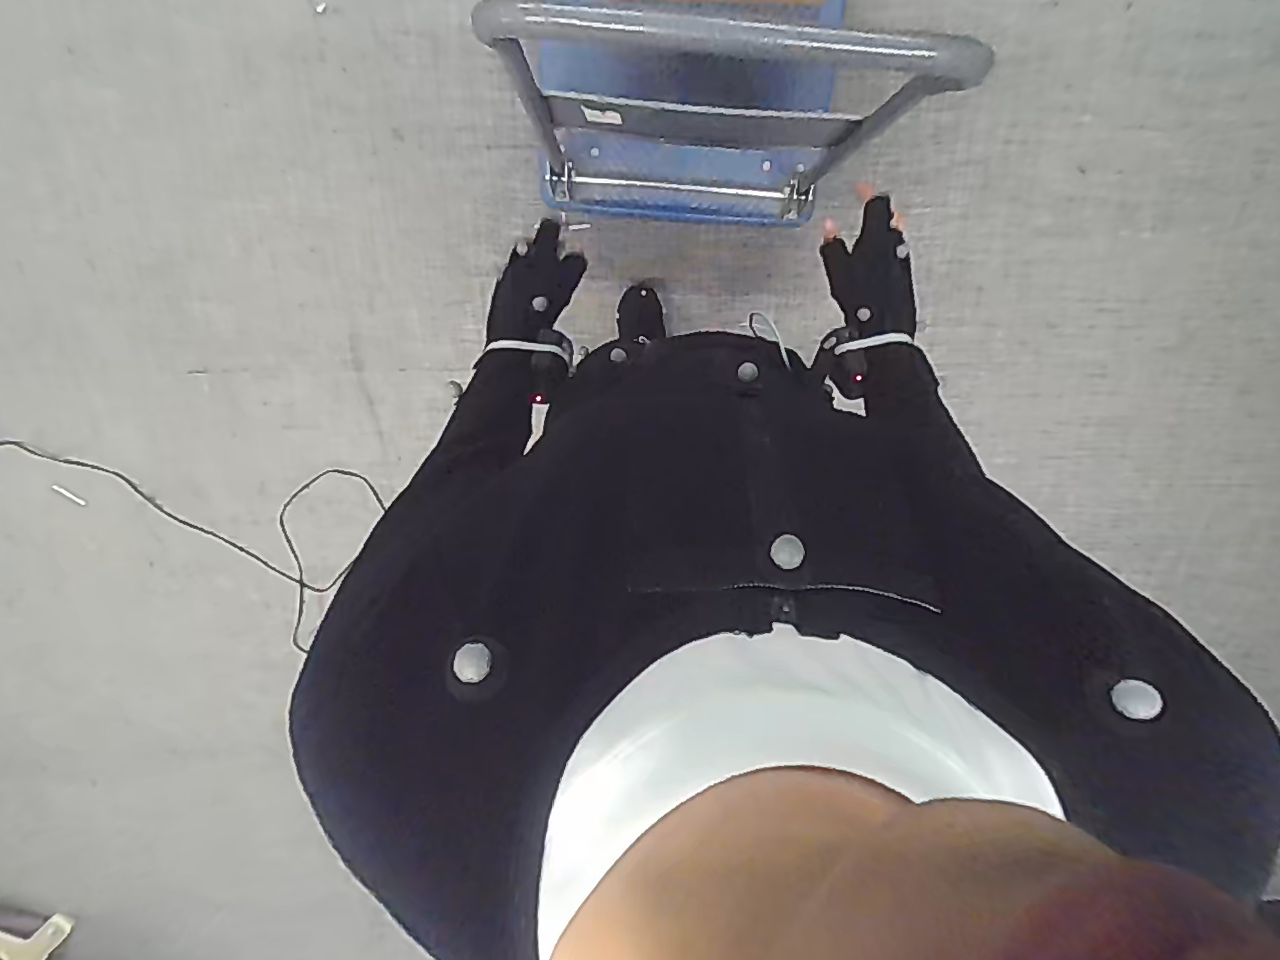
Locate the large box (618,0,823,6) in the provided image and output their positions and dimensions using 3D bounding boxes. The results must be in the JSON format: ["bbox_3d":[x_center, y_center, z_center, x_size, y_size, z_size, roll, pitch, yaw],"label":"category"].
[{"bbox_3d":[0.154,-1.005,0.846,0.408,0.320,0.320,1,107,0],"label":"large box"}]
